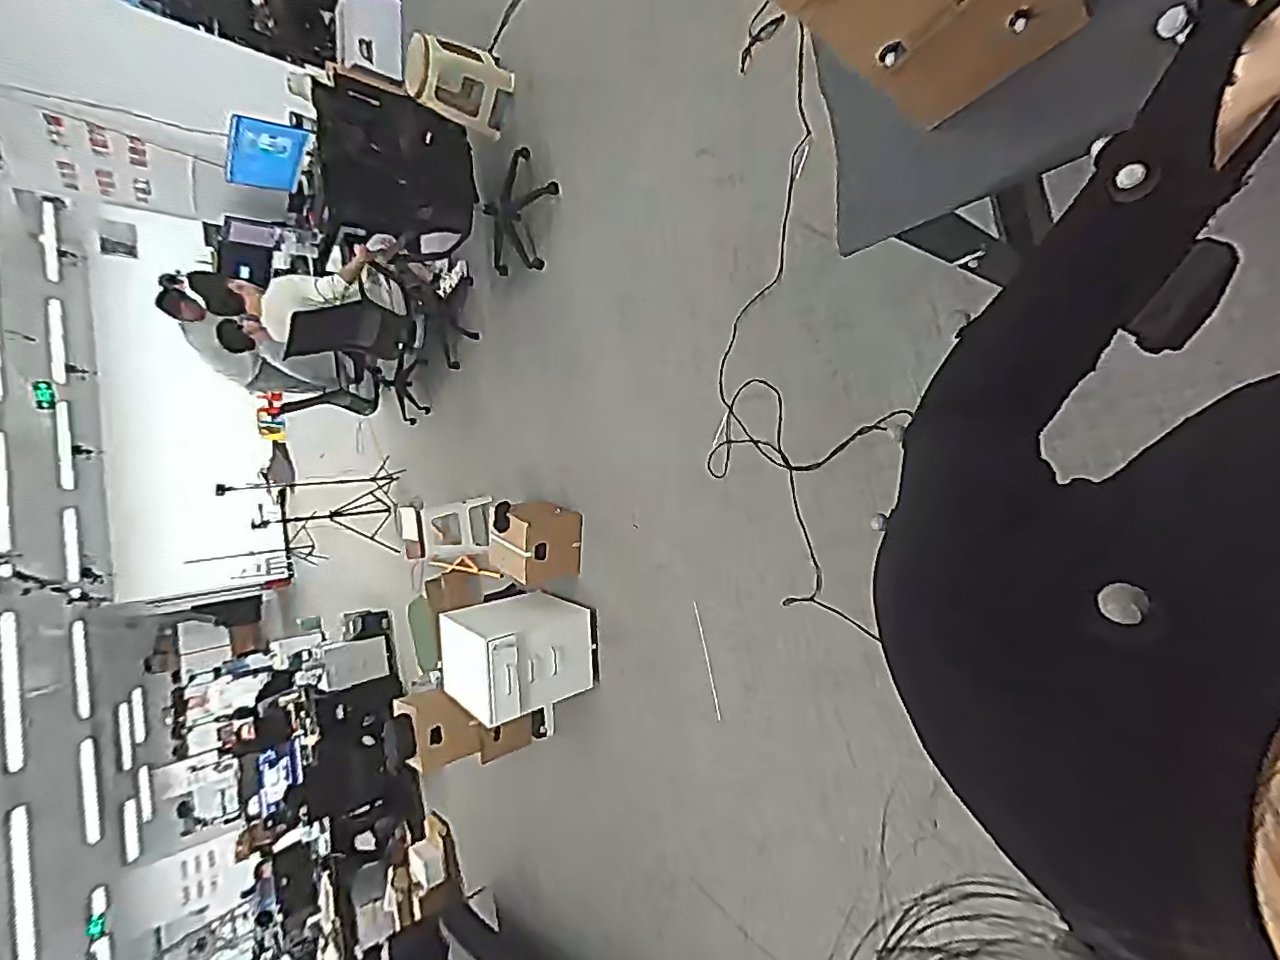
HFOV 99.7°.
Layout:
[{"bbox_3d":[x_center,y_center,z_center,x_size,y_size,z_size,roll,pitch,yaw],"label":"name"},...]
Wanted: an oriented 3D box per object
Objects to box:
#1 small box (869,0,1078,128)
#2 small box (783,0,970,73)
[{"bbox_3d":[0.371,-0.561,0.624,0.179,0.176,0.168,-20,77,50],"label":"small box"},{"bbox_3d":[0.239,-0.548,0.527,0.168,0.176,0.179,-25,72,48],"label":"small box"}]
